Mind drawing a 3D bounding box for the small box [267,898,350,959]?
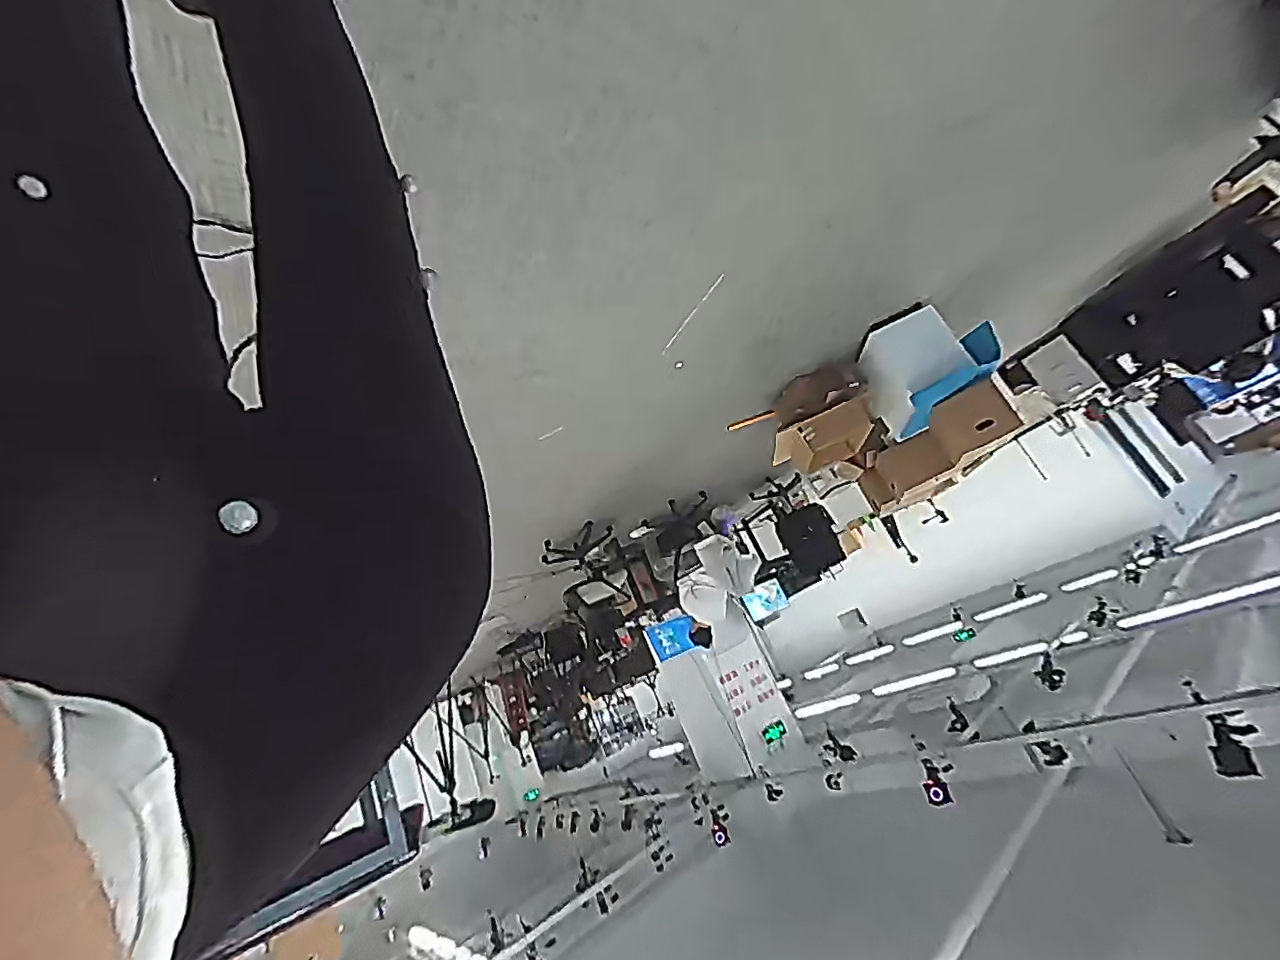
[{"bbox_3d":[-1.002,1.400,1.632,0.179,0.176,0.168,-7,154,-42],"label":"small box"}]

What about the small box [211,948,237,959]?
[{"bbox_3d":[-1.202,1.434,1.474,0.179,0.176,0.168,-11,158,-38],"label":"small box"}]
